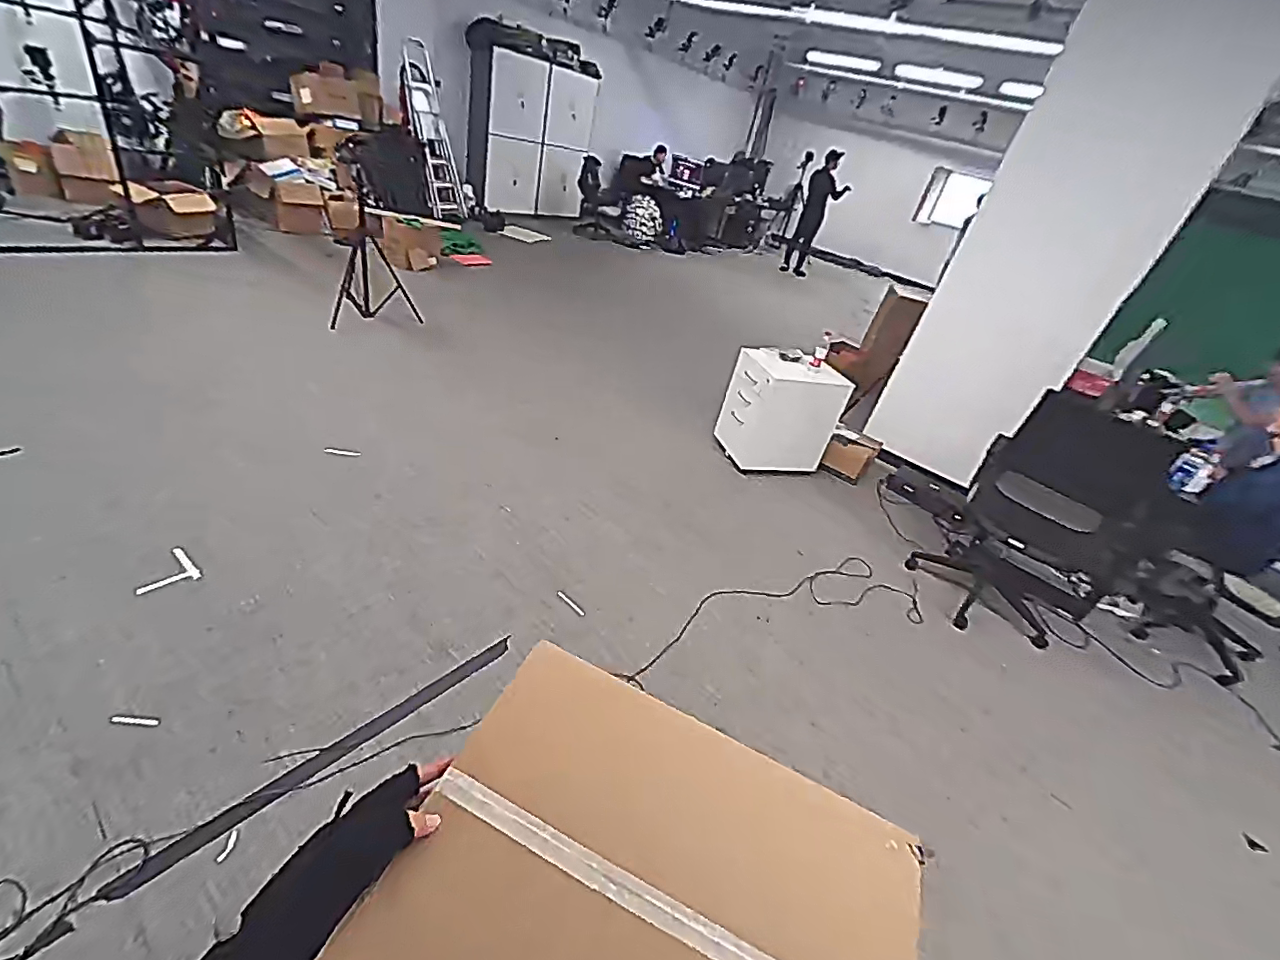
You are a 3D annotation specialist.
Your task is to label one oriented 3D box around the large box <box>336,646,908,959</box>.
[{"bbox_3d":[-0.012,0.445,0.534,0.408,0.320,0.320,24,43,11],"label":"large box"}]
